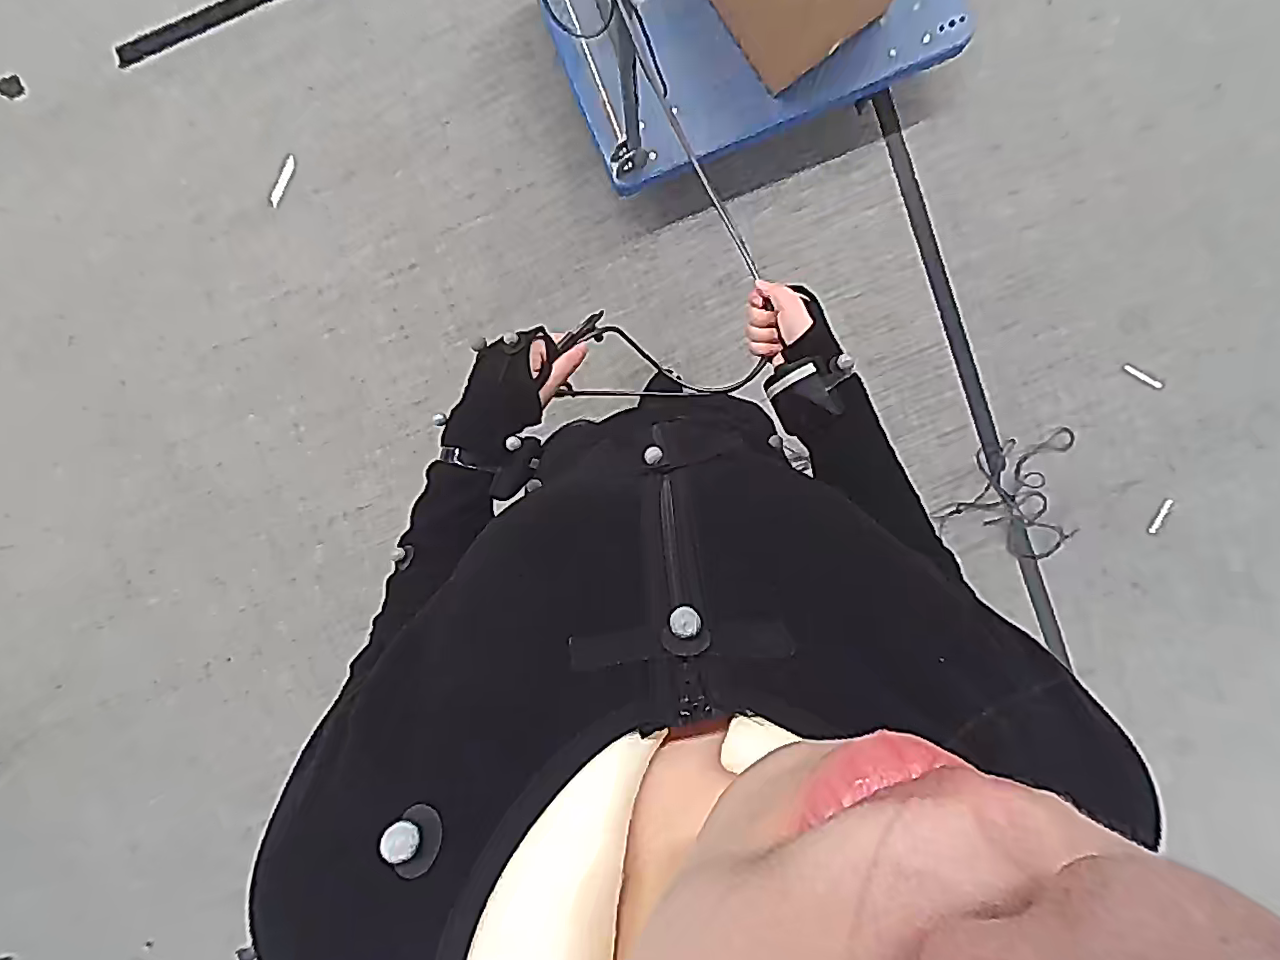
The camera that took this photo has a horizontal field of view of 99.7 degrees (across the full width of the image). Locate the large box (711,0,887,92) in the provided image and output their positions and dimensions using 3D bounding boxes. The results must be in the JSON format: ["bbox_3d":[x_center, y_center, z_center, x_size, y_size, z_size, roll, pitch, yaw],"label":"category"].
[{"bbox_3d":[0.300,-1.087,1.028,0.320,0.320,0.408,-37,97,4],"label":"large box"}]
